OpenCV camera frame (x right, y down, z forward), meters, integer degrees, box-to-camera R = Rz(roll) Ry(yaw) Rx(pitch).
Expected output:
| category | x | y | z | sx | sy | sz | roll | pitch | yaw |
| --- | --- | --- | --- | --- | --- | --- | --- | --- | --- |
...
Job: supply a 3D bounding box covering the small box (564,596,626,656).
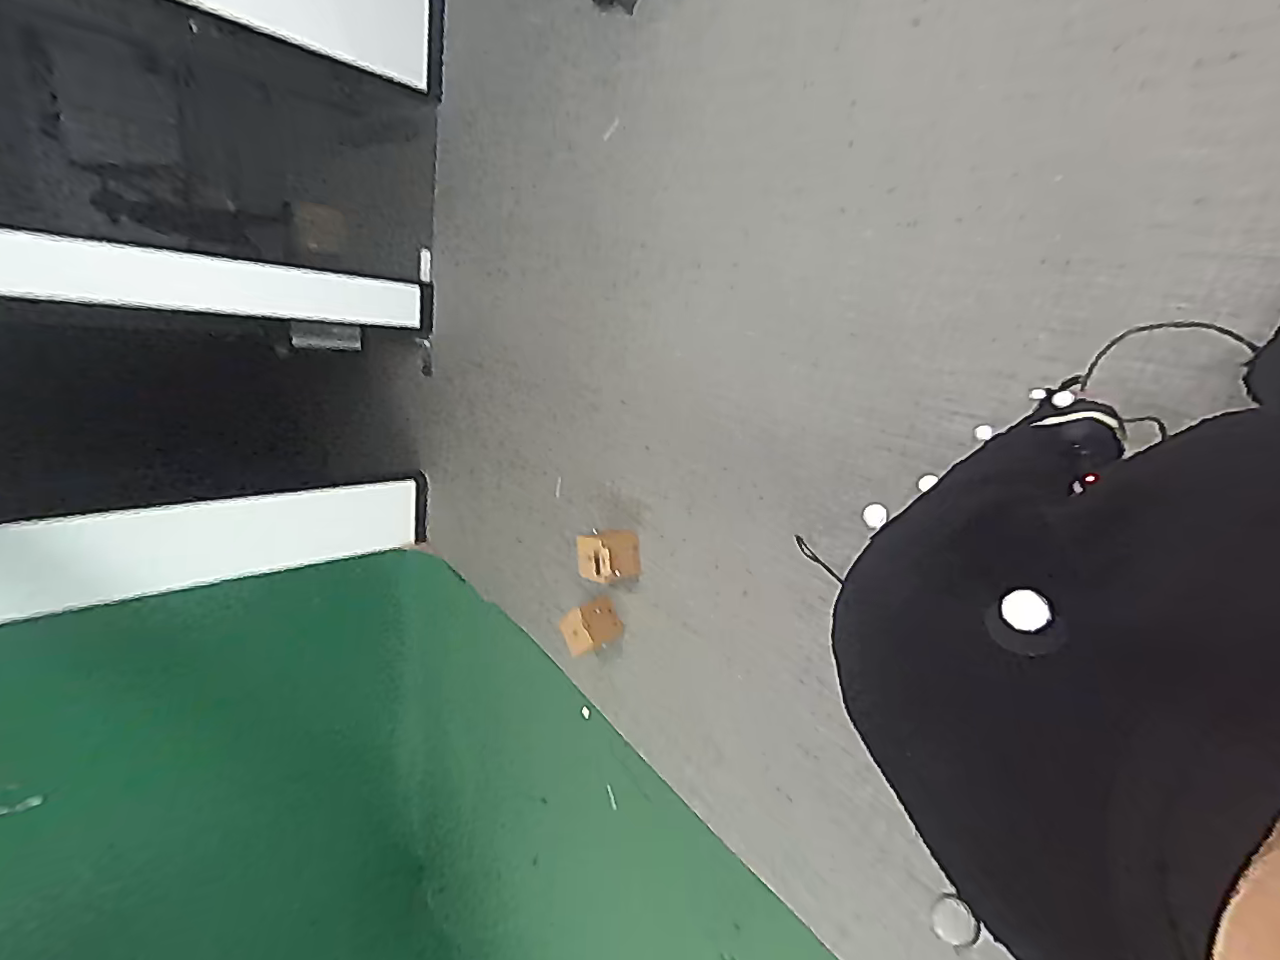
| category | x | y | z | sx | sy | sz | roll | pitch | yaw |
| --- | --- | --- | --- | --- | --- | --- | --- | --- | --- |
| small box | -0.179 | 0.597 | 2.228 | 0.179 | 0.176 | 0.168 | -47 | 61 | 42 |
